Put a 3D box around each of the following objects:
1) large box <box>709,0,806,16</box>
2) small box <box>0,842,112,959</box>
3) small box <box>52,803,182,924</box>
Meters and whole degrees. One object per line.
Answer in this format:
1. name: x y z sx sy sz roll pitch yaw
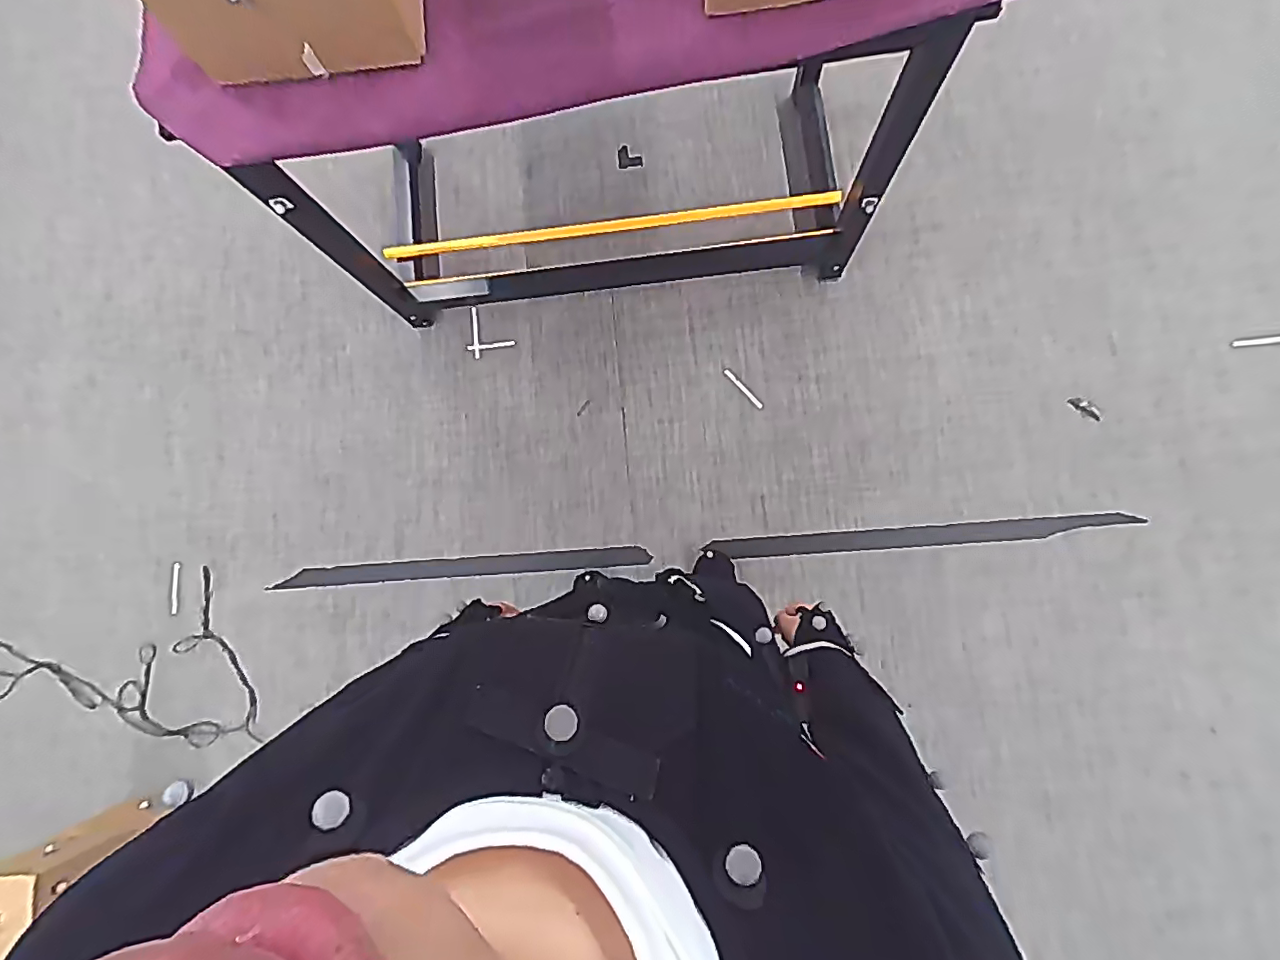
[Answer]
1. large box: 0.212 -0.870 0.622 0.320 0.320 0.408 -6 80 3
2. small box: -1.259 0.885 1.127 0.168 0.176 0.179 -6 83 4
3. small box: -1.248 0.905 1.290 0.168 0.176 0.179 0 82 4
